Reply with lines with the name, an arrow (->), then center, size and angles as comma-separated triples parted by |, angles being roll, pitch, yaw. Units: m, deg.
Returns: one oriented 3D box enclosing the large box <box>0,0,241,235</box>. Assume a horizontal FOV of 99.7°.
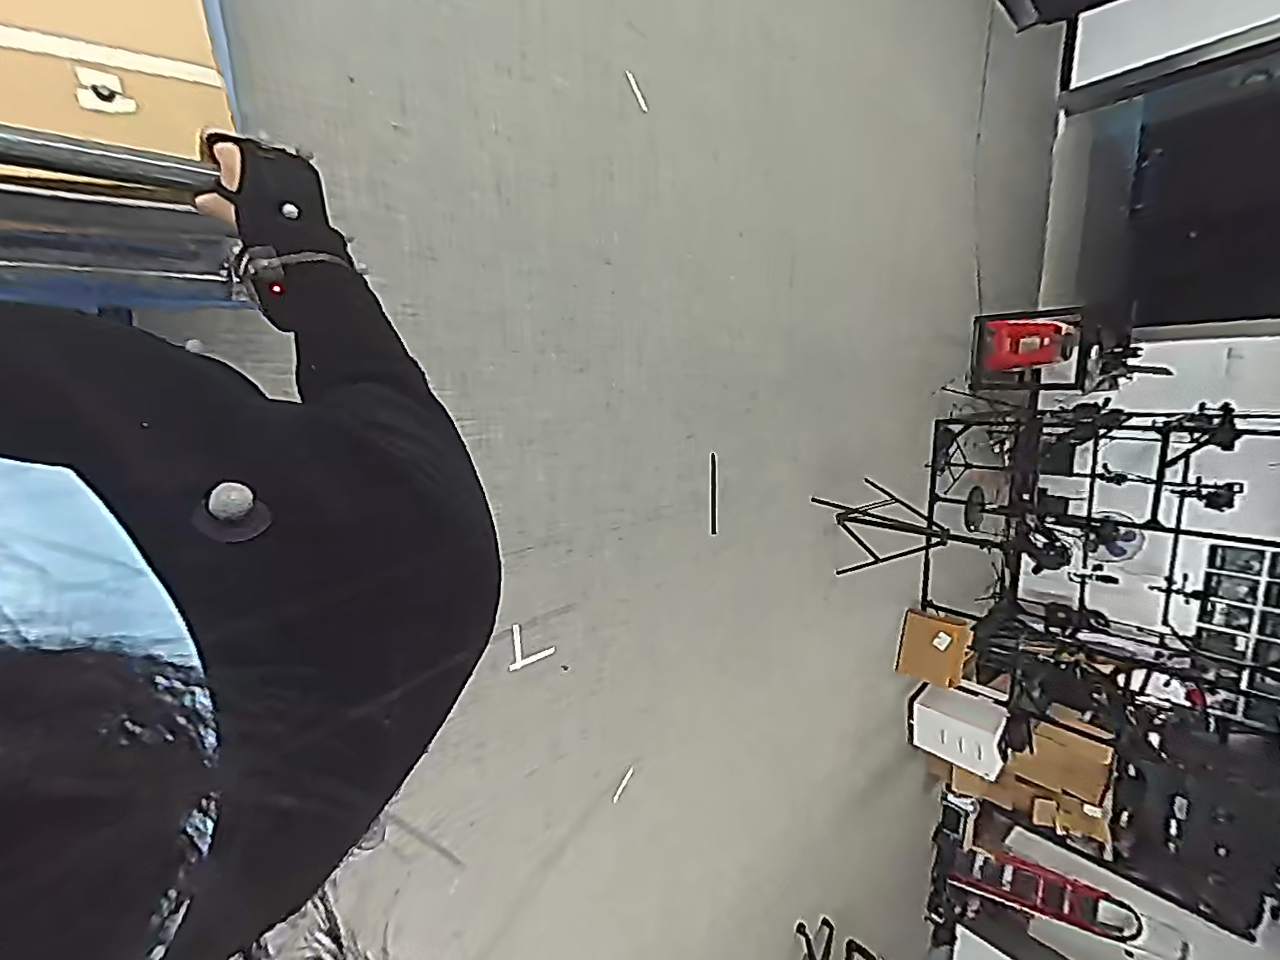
large box -> -0.869, -0.554, 0.768 | 0.408, 0.320, 0.320 | -18, 109, -41
